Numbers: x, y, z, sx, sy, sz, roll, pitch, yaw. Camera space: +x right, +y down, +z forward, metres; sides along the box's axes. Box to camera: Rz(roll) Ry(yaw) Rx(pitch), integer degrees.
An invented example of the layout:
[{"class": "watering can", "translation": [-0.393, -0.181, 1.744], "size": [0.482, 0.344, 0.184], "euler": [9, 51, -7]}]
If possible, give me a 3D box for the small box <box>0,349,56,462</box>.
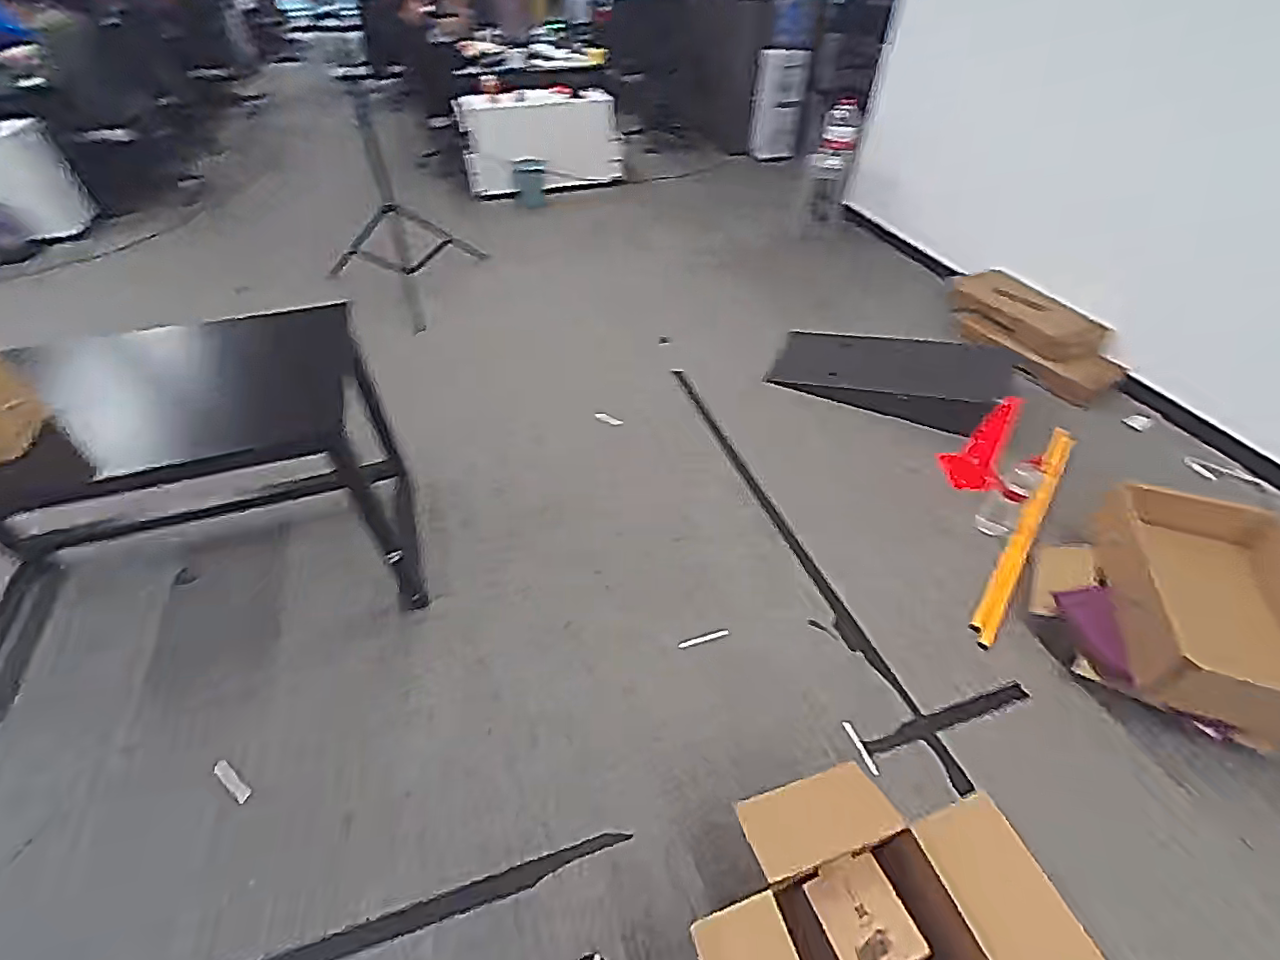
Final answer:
[{"class": "small box", "translation": [-1.349, -0.138, 1.076], "size": [0.179, 0.176, 0.168], "euler": [-12, 46, -12]}]
